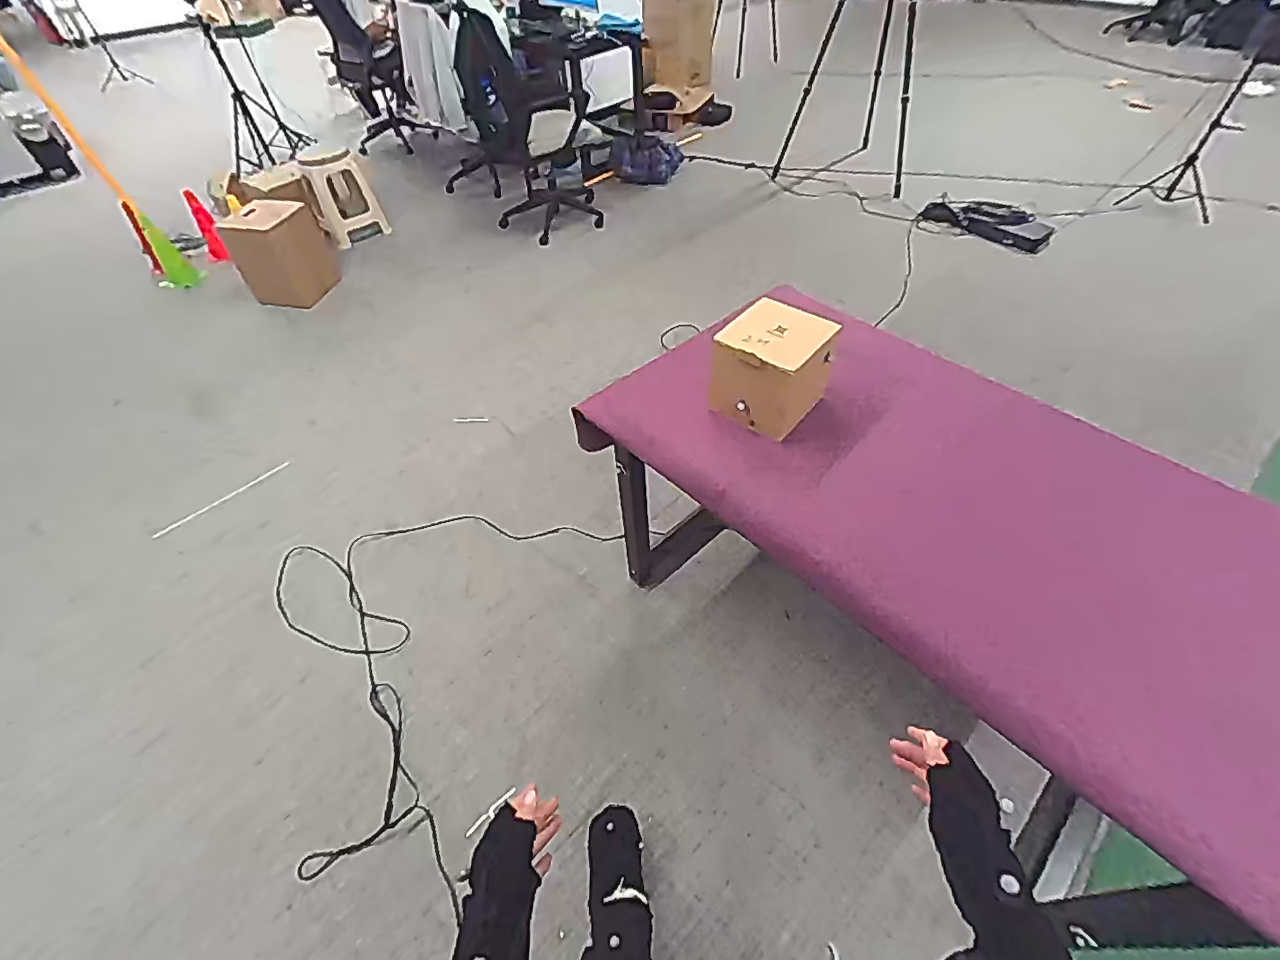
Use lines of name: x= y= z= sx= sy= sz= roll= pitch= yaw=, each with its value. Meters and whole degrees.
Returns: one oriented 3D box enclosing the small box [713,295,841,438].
small box: x=0.249 y=-0.214 z=1.023 sx=0.168 sy=0.176 sz=0.179 roll=32 pitch=58 yaw=28
